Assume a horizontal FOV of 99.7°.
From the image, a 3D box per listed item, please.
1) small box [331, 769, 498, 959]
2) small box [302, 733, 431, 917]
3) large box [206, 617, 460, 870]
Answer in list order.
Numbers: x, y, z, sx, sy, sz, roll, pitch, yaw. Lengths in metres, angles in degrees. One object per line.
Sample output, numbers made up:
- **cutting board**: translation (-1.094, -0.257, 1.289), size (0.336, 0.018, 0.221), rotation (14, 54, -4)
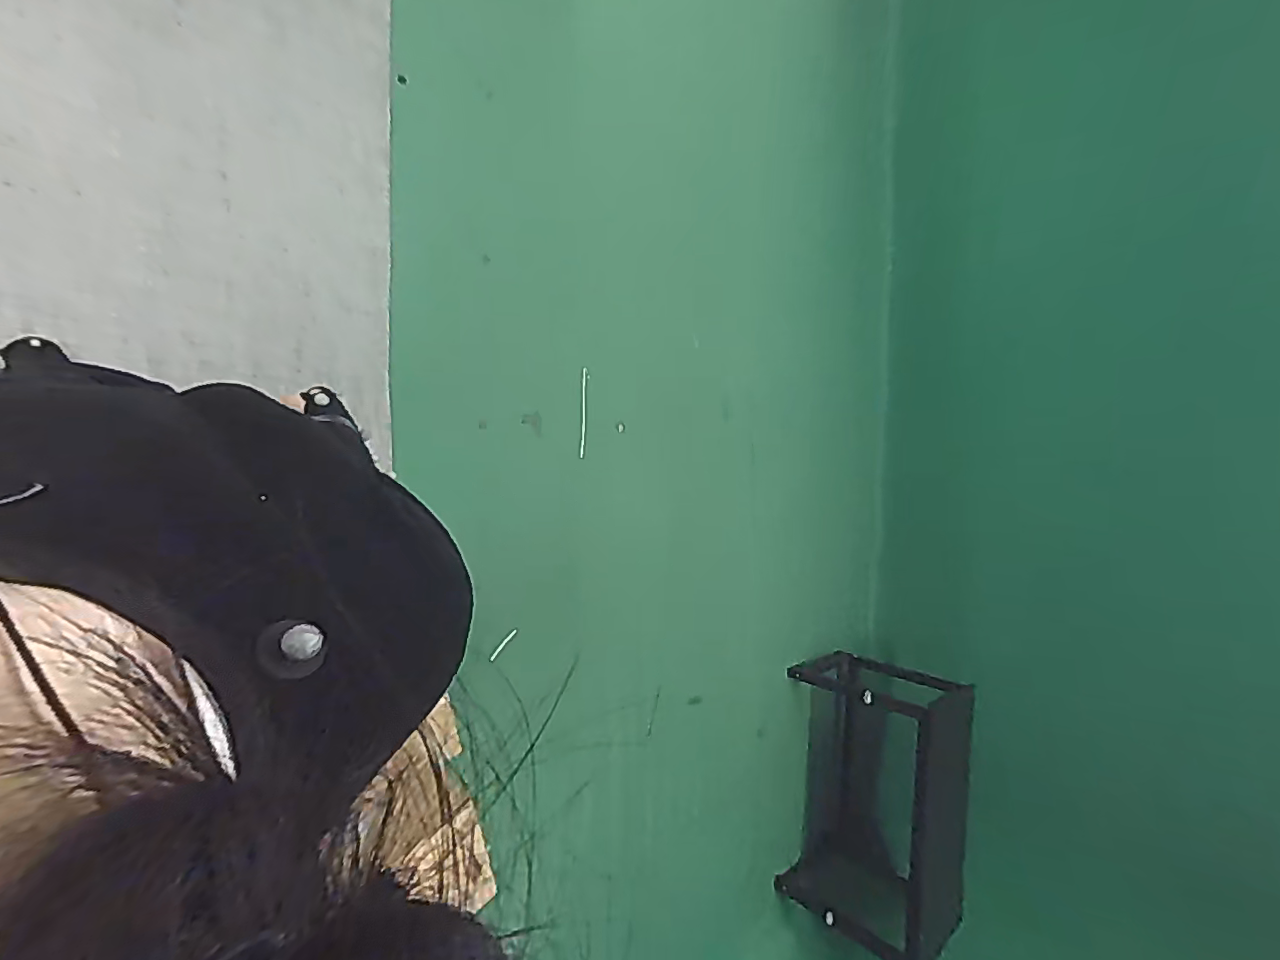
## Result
- **small box**: translation (-0.346, 0.586, 0.818), size (0.179, 0.176, 0.168), rotation (-19, 104, -40)
- **small box**: translation (-0.461, 0.580, 0.936), size (0.179, 0.176, 0.168), rotation (-20, 105, -41)
- **large box**: translation (-0.706, 0.568, 1.265), size (0.408, 0.320, 0.320), rotation (-20, 106, -42)
